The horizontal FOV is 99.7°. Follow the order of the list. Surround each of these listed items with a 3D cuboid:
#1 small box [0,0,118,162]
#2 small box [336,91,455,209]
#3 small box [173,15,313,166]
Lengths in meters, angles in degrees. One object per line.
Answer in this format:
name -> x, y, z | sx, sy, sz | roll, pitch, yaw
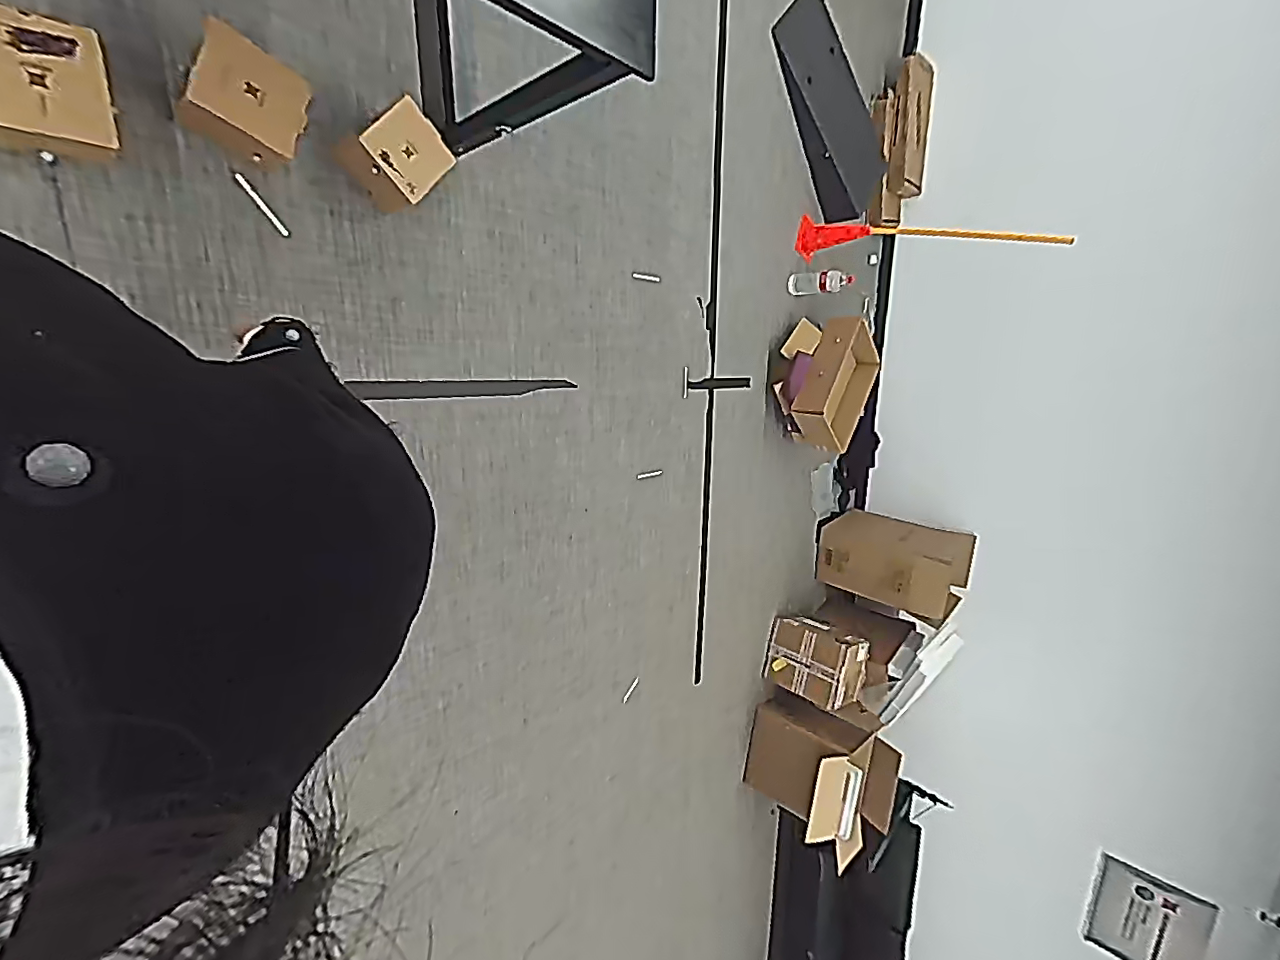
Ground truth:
small box -> -1.009, -0.660, 0.902 | 0.168, 0.176, 0.179 | -14, 111, -45
small box -> -0.597, -0.793, 1.315 | 0.179, 0.176, 0.168 | -59, 135, -19
small box -> -0.806, -0.770, 1.097 | 0.179, 0.176, 0.168 | 18, 86, -47
